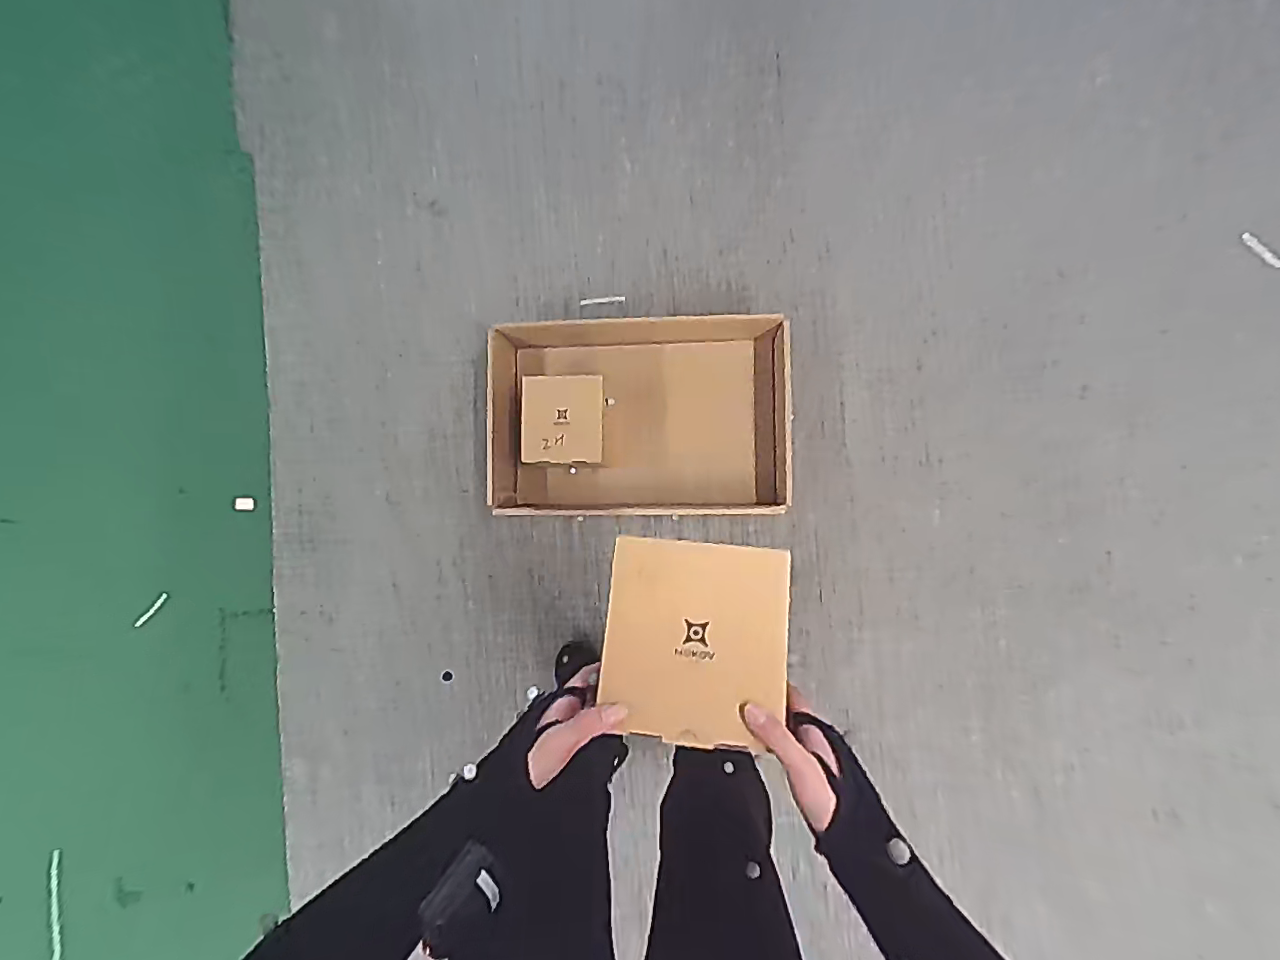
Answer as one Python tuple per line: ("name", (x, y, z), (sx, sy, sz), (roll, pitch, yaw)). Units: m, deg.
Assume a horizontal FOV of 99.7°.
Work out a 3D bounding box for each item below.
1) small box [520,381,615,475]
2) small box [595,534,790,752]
("small box", (-0.148, -0.105, 1.150), (0.168, 0.176, 0.179), (0, 87, 6))
("small box", (0.054, 0.163, 0.562), (0.168, 0.176, 0.179), (4, 75, 6))
